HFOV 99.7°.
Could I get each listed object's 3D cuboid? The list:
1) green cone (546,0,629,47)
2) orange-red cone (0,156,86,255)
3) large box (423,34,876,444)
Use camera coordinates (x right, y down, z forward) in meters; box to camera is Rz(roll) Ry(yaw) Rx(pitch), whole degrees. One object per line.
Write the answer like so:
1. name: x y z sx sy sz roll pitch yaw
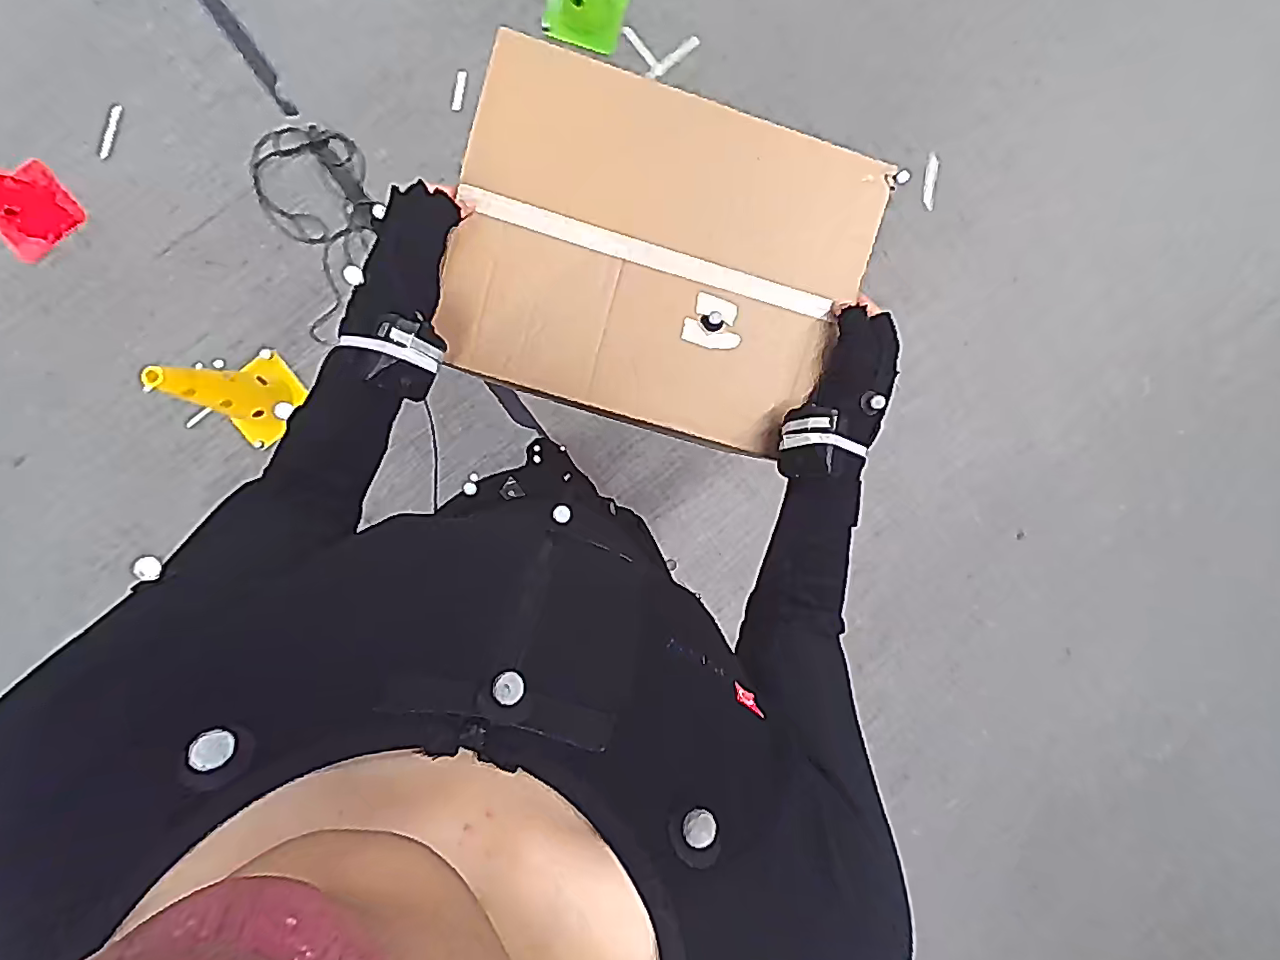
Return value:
1. green cone: -0.124 -1.274 1.275 0.200 0.368 0.202 15 89 -4
2. orange-red cone: -1.549 -0.699 1.224 0.198 0.360 0.199 -40 94 0
3. large box: 0.000 -0.242 0.684 0.408 0.320 0.320 14 95 -6
